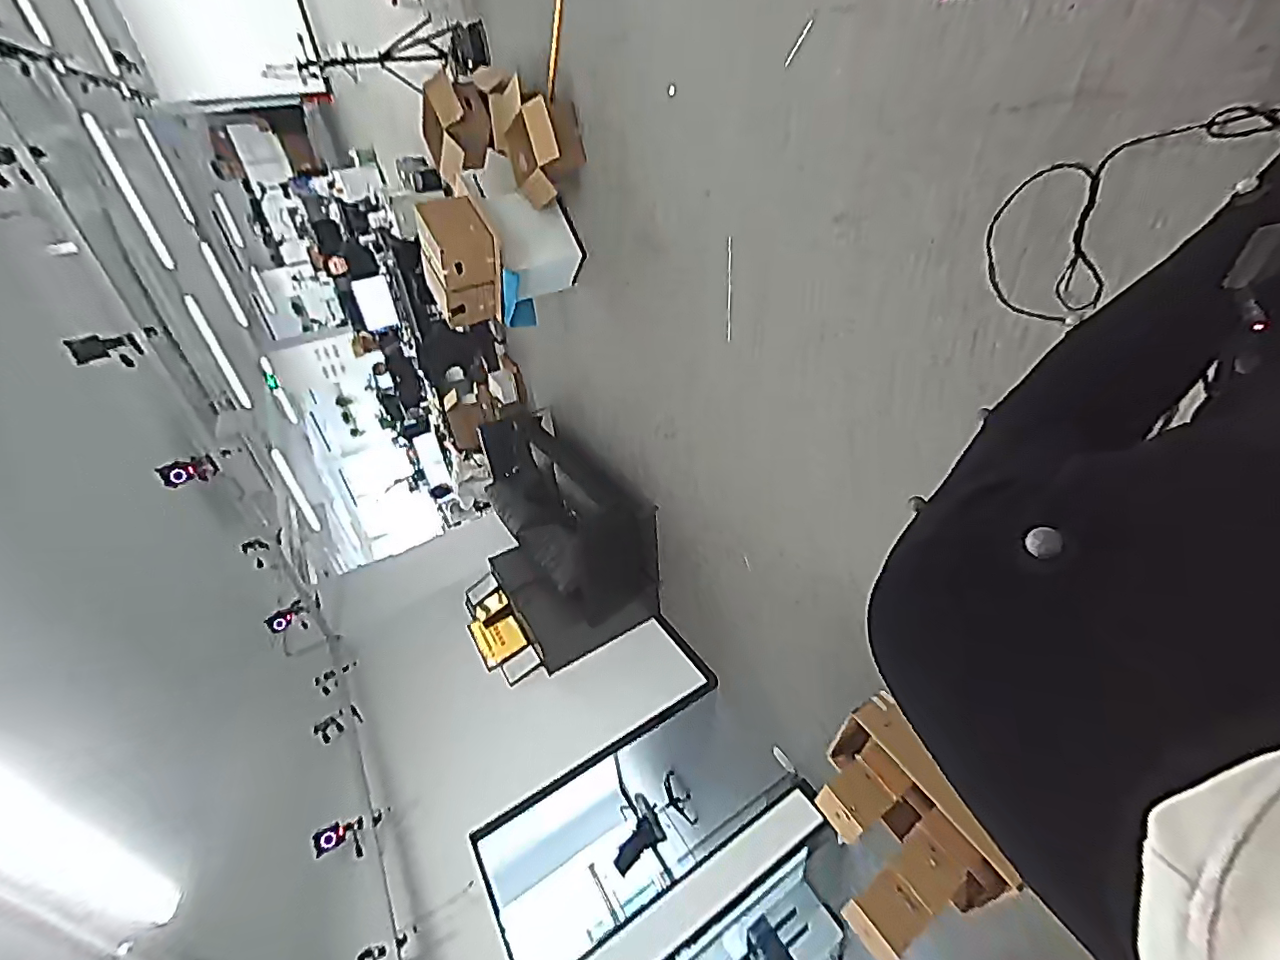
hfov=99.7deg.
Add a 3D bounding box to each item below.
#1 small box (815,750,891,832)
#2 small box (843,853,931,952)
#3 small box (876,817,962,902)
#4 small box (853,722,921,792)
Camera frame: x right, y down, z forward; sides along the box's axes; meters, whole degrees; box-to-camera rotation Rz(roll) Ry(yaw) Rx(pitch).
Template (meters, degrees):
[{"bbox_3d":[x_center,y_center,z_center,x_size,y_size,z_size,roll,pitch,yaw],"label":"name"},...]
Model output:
[{"bbox_3d":[0.756,1.102,1.920,0.168,0.176,0.179,46,149,36],"label":"small box"},{"bbox_3d":[0.770,1.316,1.688,0.168,0.176,0.179,43,148,39],"label":"small box"},{"bbox_3d":[0.901,1.243,1.751,0.168,0.176,0.179,42,147,40],"label":"small box"},{"bbox_3d":[0.892,1.033,1.982,0.168,0.176,0.179,45,148,38],"label":"small box"}]
